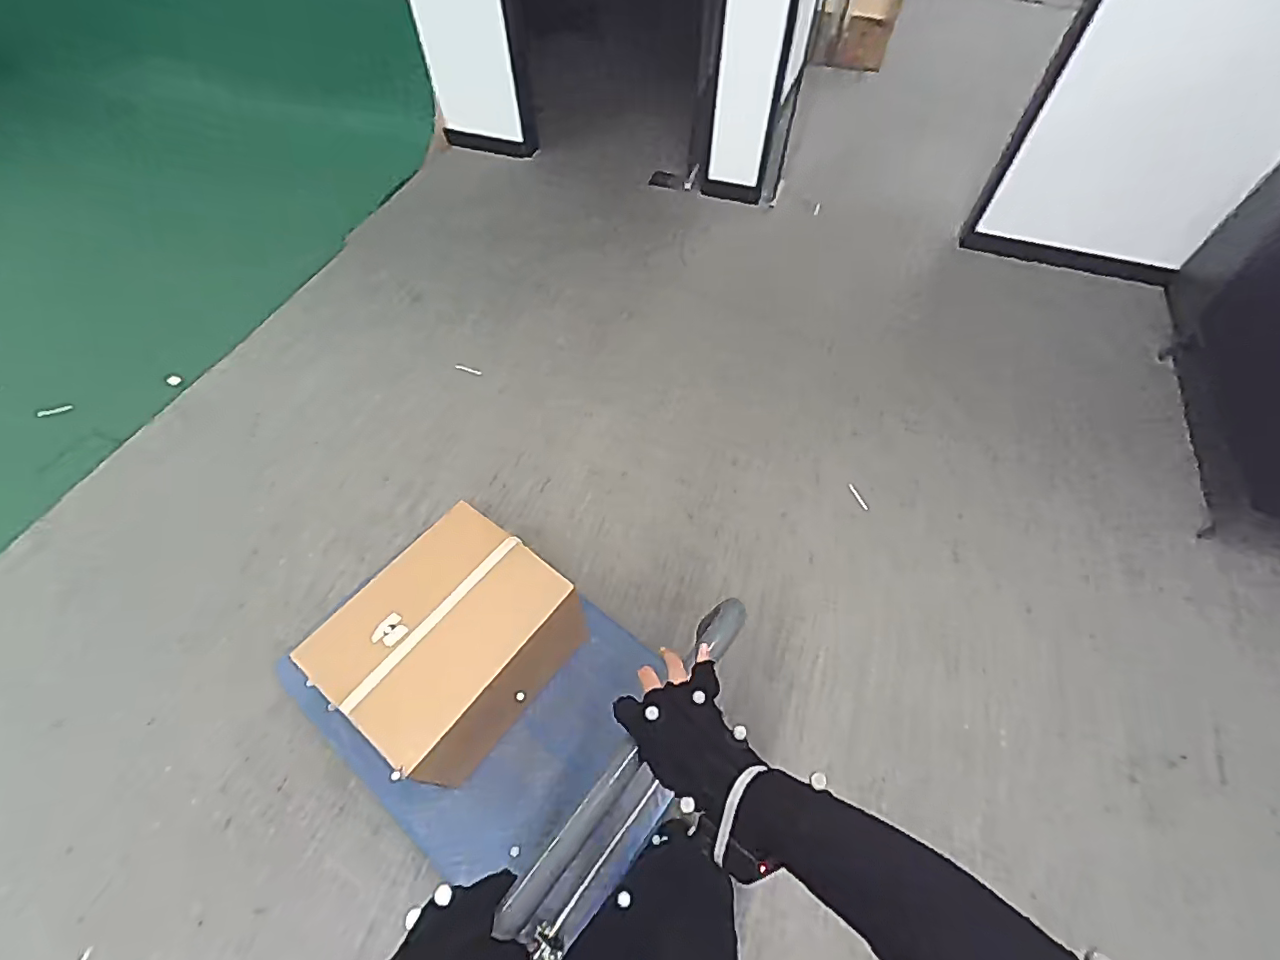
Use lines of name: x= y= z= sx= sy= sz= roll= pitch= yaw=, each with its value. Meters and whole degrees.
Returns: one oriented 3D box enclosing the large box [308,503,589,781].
large box: x=-0.351 y=0.334 z=1.114 sx=0.320 sy=0.320 sz=0.408 roll=32 pitch=63 yaw=19
